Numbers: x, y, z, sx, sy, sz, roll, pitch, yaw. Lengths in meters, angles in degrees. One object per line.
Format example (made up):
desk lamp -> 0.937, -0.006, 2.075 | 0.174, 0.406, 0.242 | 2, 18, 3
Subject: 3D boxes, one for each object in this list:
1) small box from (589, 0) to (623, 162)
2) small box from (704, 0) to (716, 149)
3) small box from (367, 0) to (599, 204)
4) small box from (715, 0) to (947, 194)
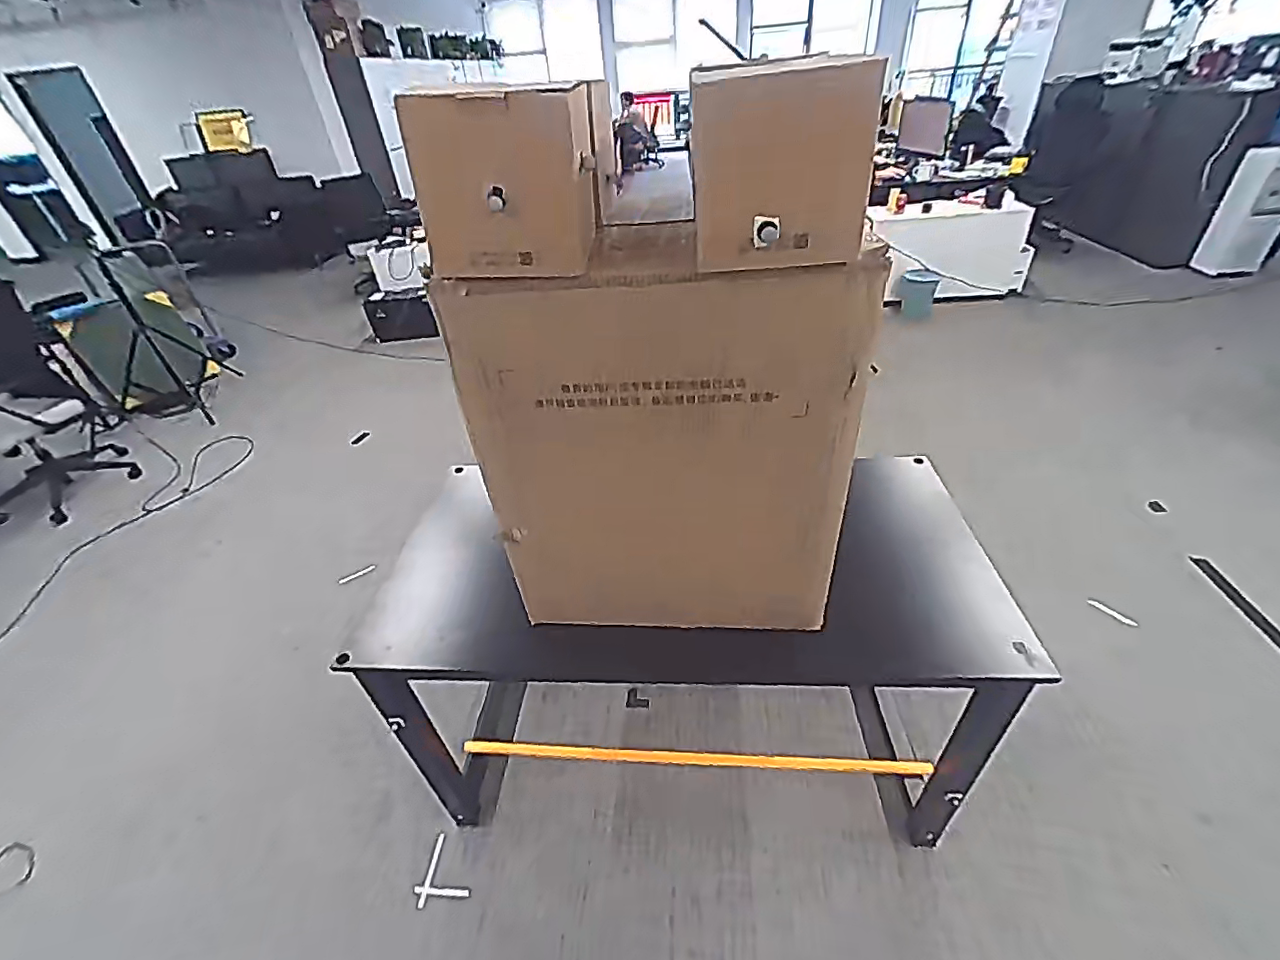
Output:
small box -> -0.123, -0.501, 0.688 | 0.179, 0.176, 0.168 | 1, 37, 6
small box -> 0.163, -0.513, 0.666 | 0.168, 0.176, 0.179 | -3, 34, 6
small box -> -0.129, -0.377, 0.525 | 0.168, 0.176, 0.179 | -1, 40, 0
small box -> 0.154, -0.374, 0.494 | 0.168, 0.176, 0.179 | -3, 39, 7
